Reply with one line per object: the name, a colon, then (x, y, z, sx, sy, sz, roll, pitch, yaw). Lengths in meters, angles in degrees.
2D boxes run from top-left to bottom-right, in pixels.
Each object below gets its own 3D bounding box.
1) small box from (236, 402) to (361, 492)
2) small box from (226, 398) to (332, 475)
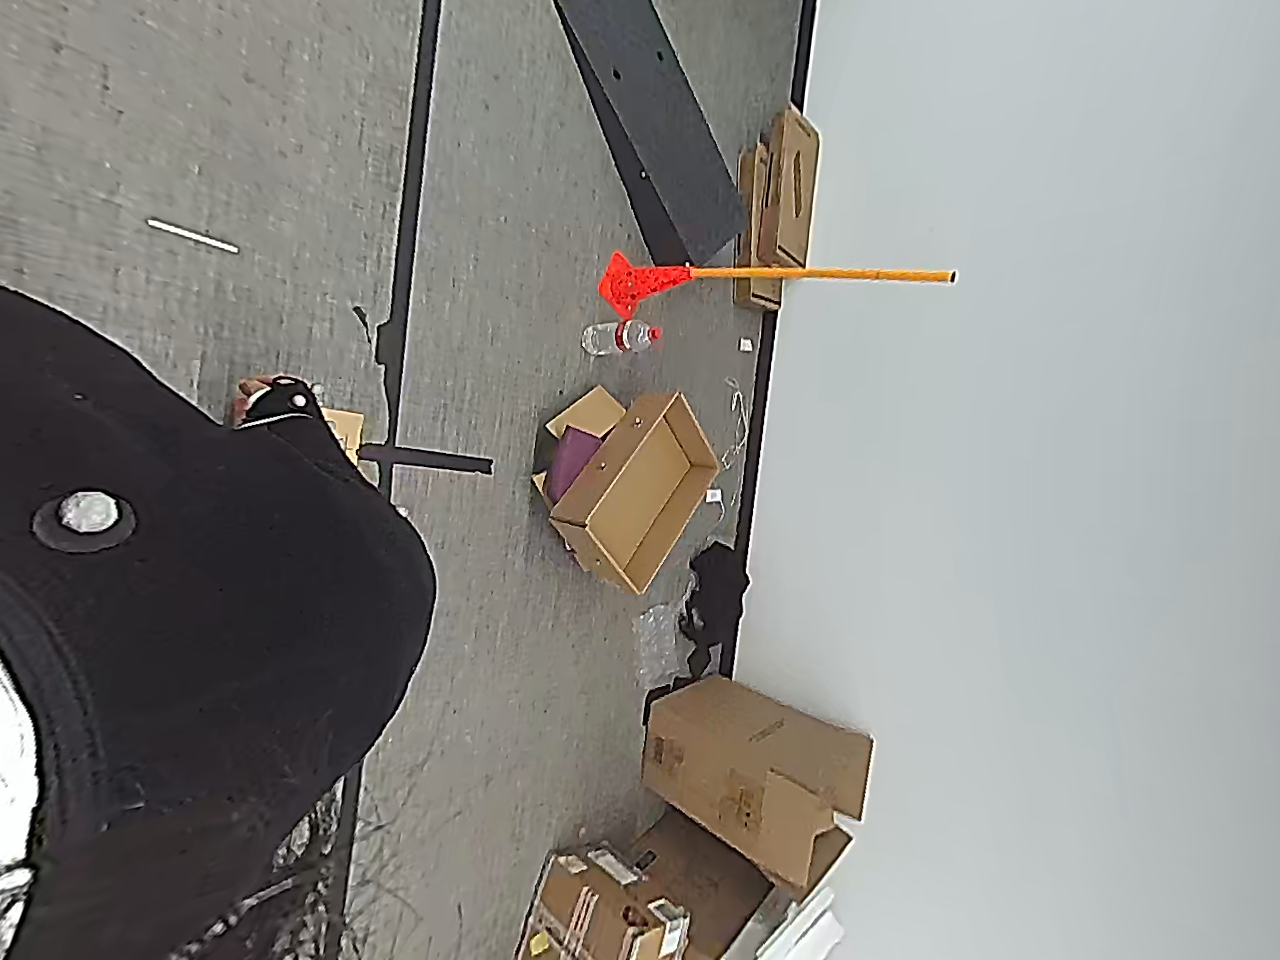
small box: (-0.719, -0.070, 1.138, 0.179, 0.176, 0.168, 7, 90, -47)
small box: (-0.836, -0.088, 1.252, 0.168, 0.176, 0.179, 7, 91, -48)
